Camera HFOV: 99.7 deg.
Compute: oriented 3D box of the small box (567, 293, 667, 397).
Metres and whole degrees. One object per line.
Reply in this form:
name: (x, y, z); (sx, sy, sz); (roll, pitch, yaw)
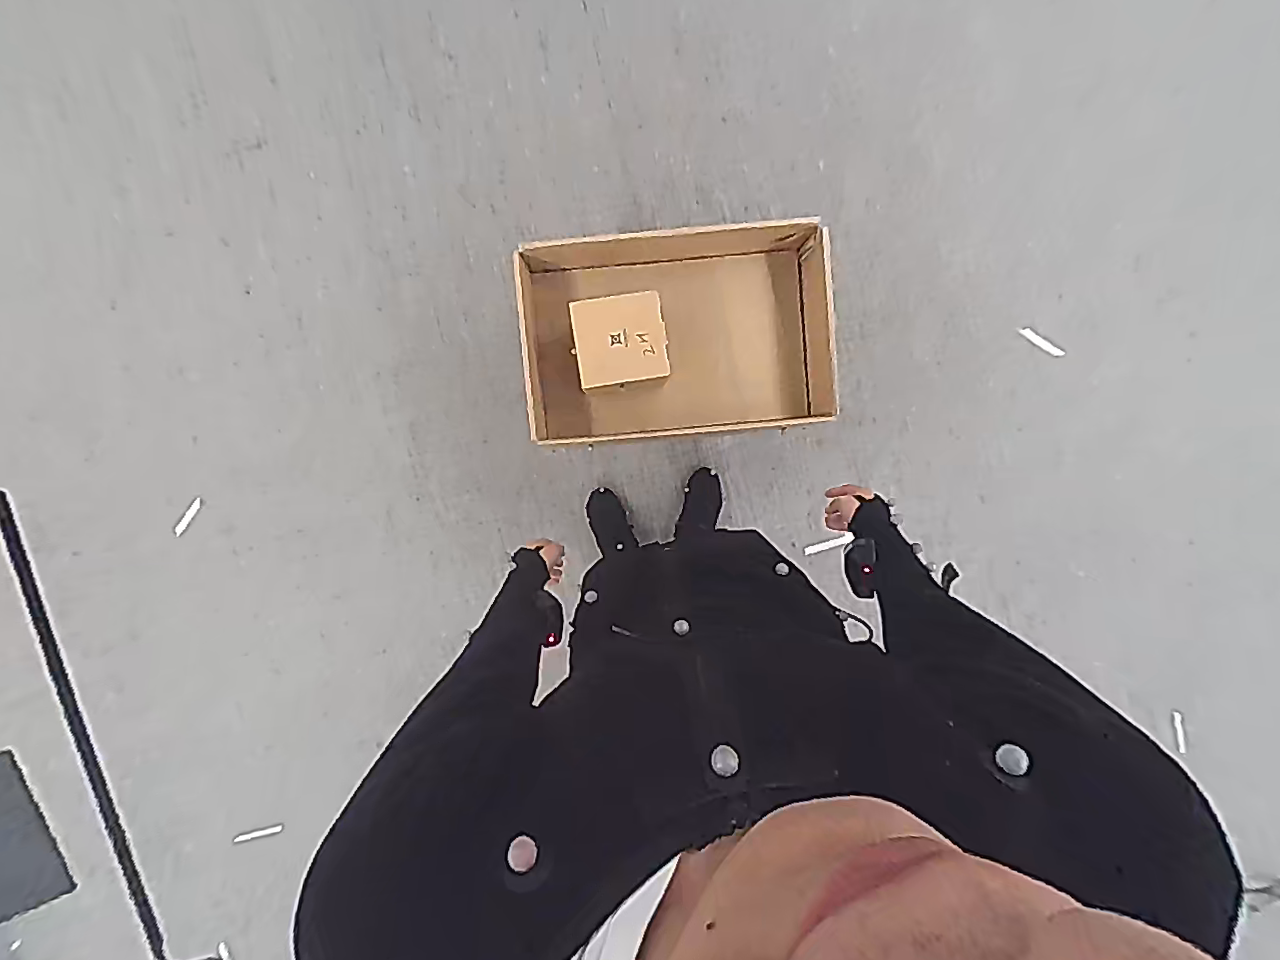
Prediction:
small box: (-0.045, -0.269, 1.111); (0.179, 0.176, 0.168); (-8, 94, -1)
